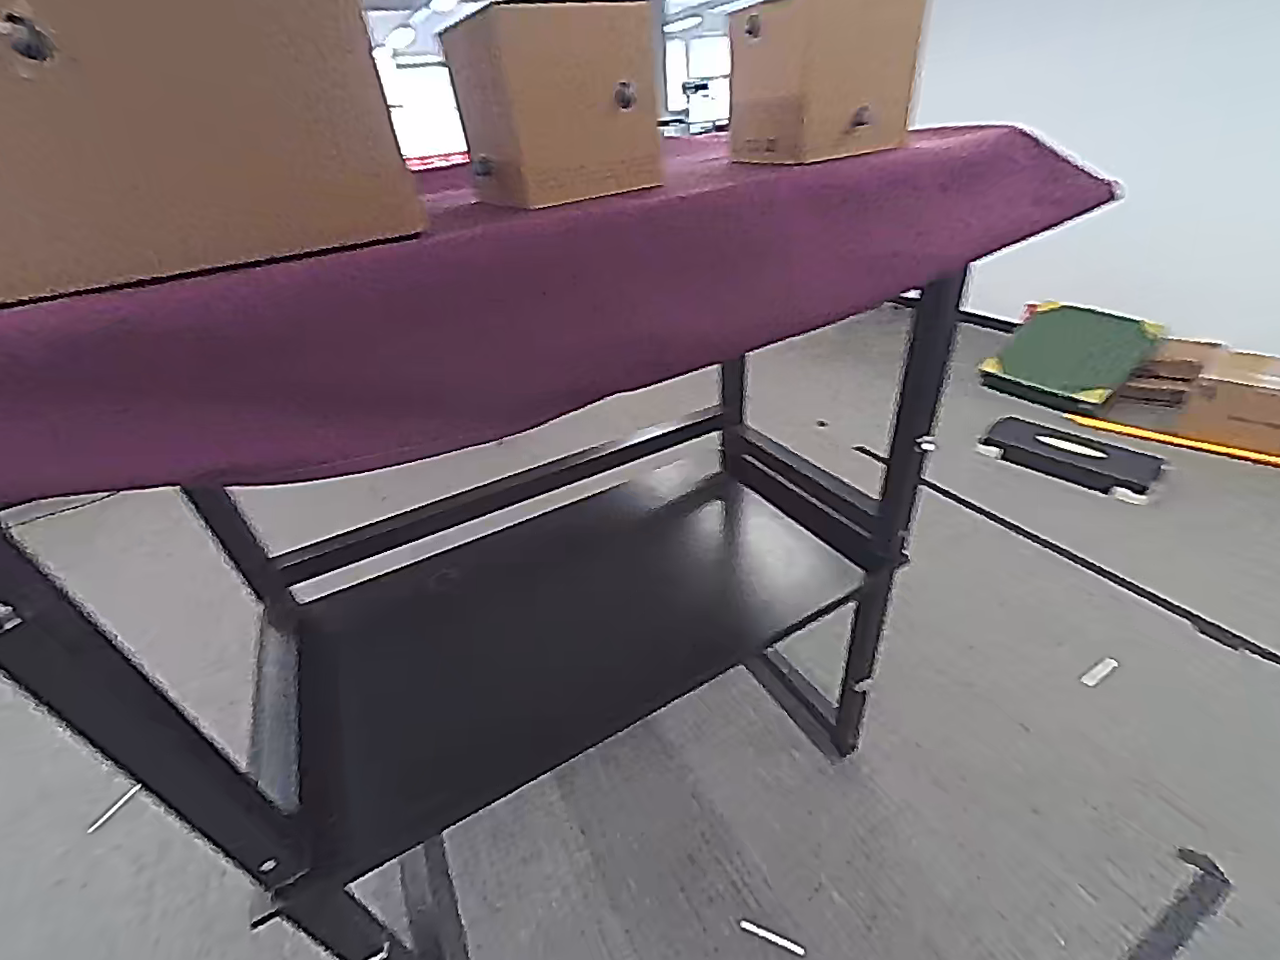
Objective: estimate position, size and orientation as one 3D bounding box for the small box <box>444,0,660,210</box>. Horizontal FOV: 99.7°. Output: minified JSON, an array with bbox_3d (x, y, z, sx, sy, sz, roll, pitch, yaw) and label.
[{"bbox_3d":[-0.090,-0.413,0.603,0.179,0.176,0.168,-25,37,-24],"label":"small box"}]

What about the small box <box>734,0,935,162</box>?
[{"bbox_3d":[0.234,-0.514,0.689,0.179,0.176,0.168,-19,35,-17],"label":"small box"}]
